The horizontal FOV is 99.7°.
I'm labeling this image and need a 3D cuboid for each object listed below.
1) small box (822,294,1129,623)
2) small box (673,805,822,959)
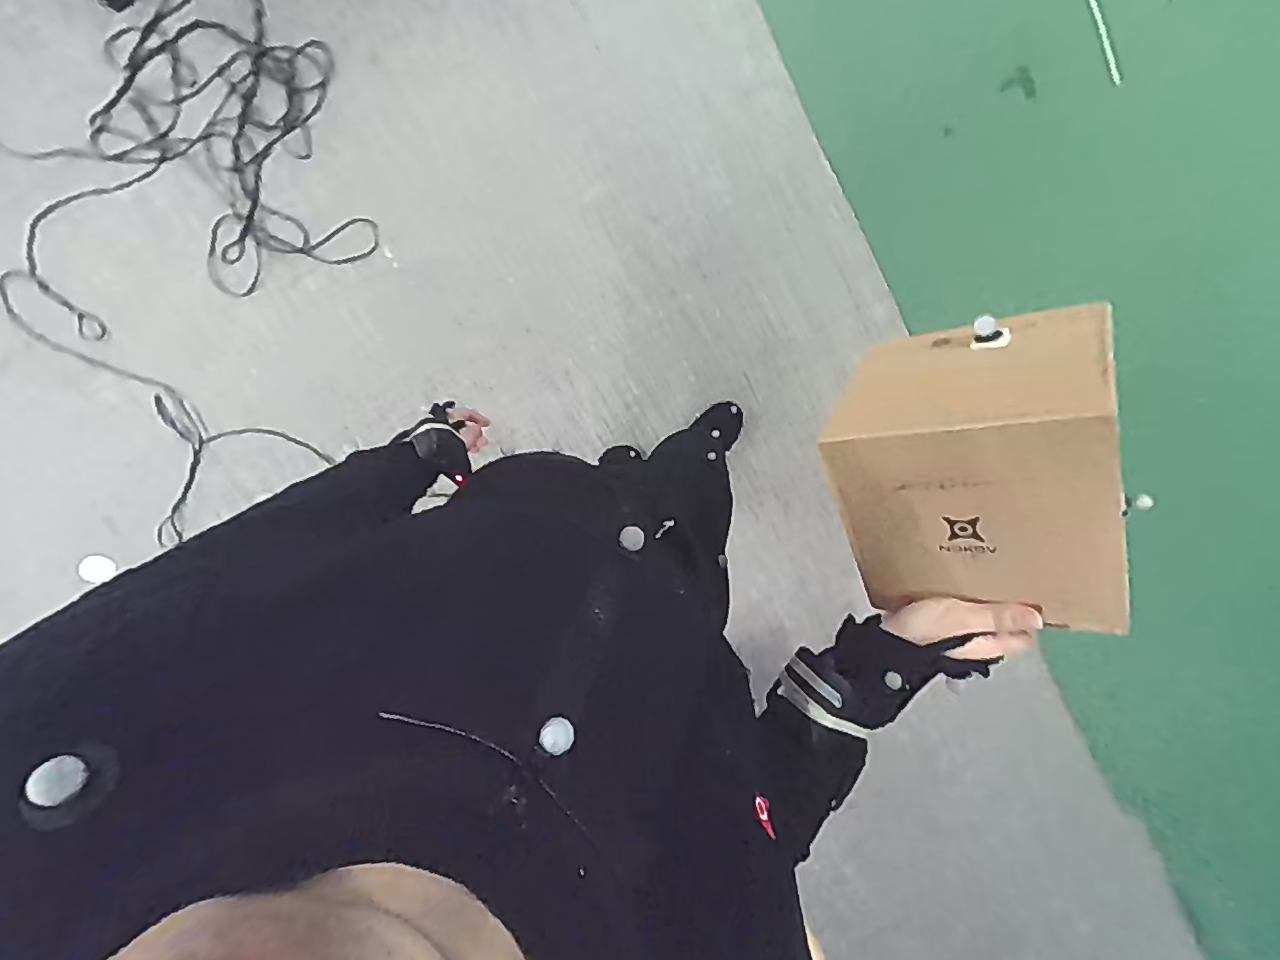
[{"bbox_3d":[0.269,-0.017,0.426,0.168,0.176,0.179,-6,121,41],"label":"small box"},{"bbox_3d":[0.168,0.692,0.904,0.179,0.176,0.168,-27,99,4],"label":"small box"}]
